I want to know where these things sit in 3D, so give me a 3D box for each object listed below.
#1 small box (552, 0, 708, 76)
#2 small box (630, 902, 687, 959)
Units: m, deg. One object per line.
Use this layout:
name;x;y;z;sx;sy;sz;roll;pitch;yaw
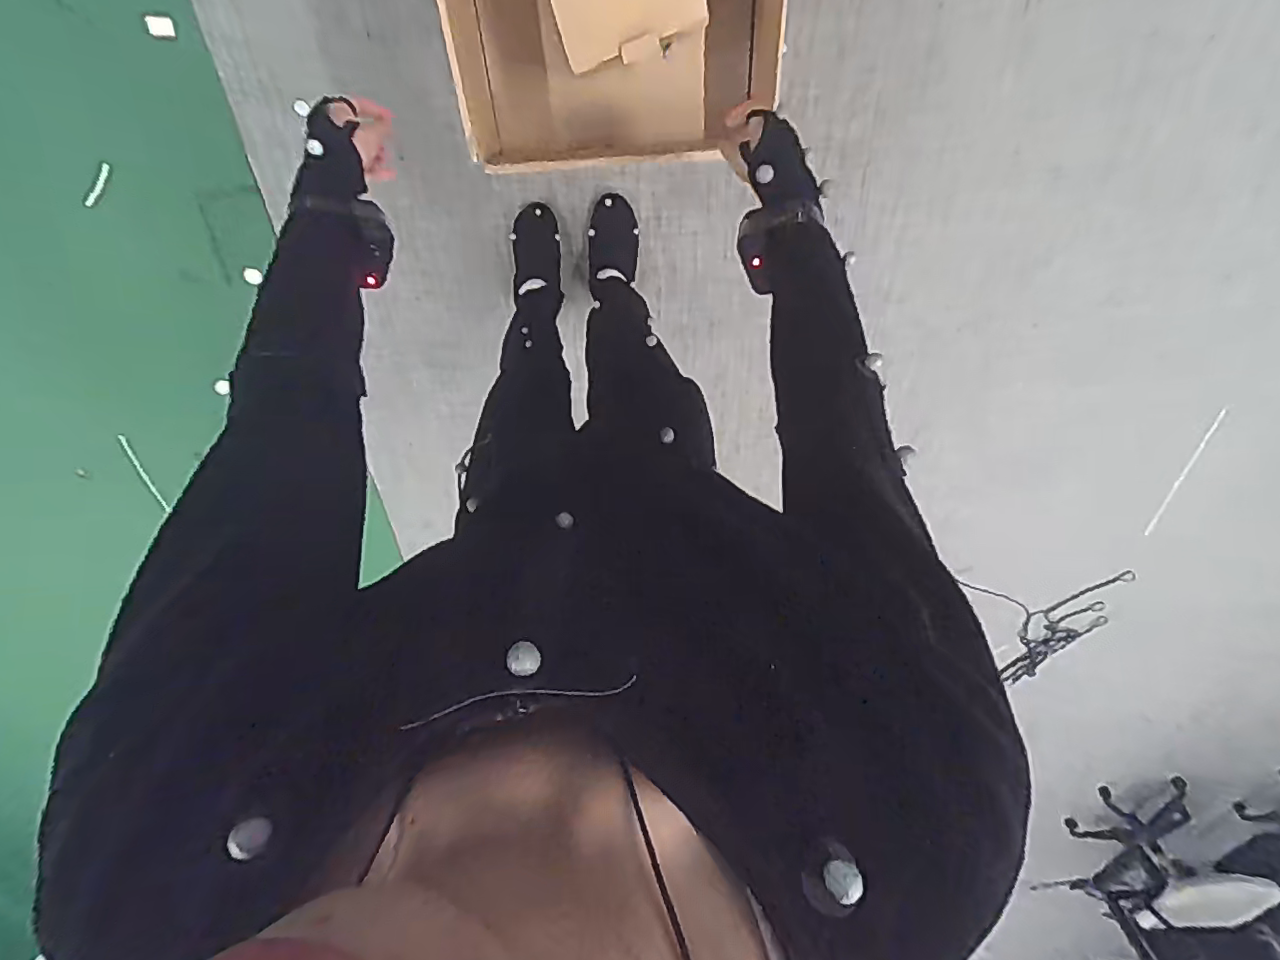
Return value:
small box;-0.024;-0.602;0.632;0.168;0.176;0.179;-14;124;8
small box;0.053;1.443;1.684;0.168;0.176;0.179;0;124;-1
